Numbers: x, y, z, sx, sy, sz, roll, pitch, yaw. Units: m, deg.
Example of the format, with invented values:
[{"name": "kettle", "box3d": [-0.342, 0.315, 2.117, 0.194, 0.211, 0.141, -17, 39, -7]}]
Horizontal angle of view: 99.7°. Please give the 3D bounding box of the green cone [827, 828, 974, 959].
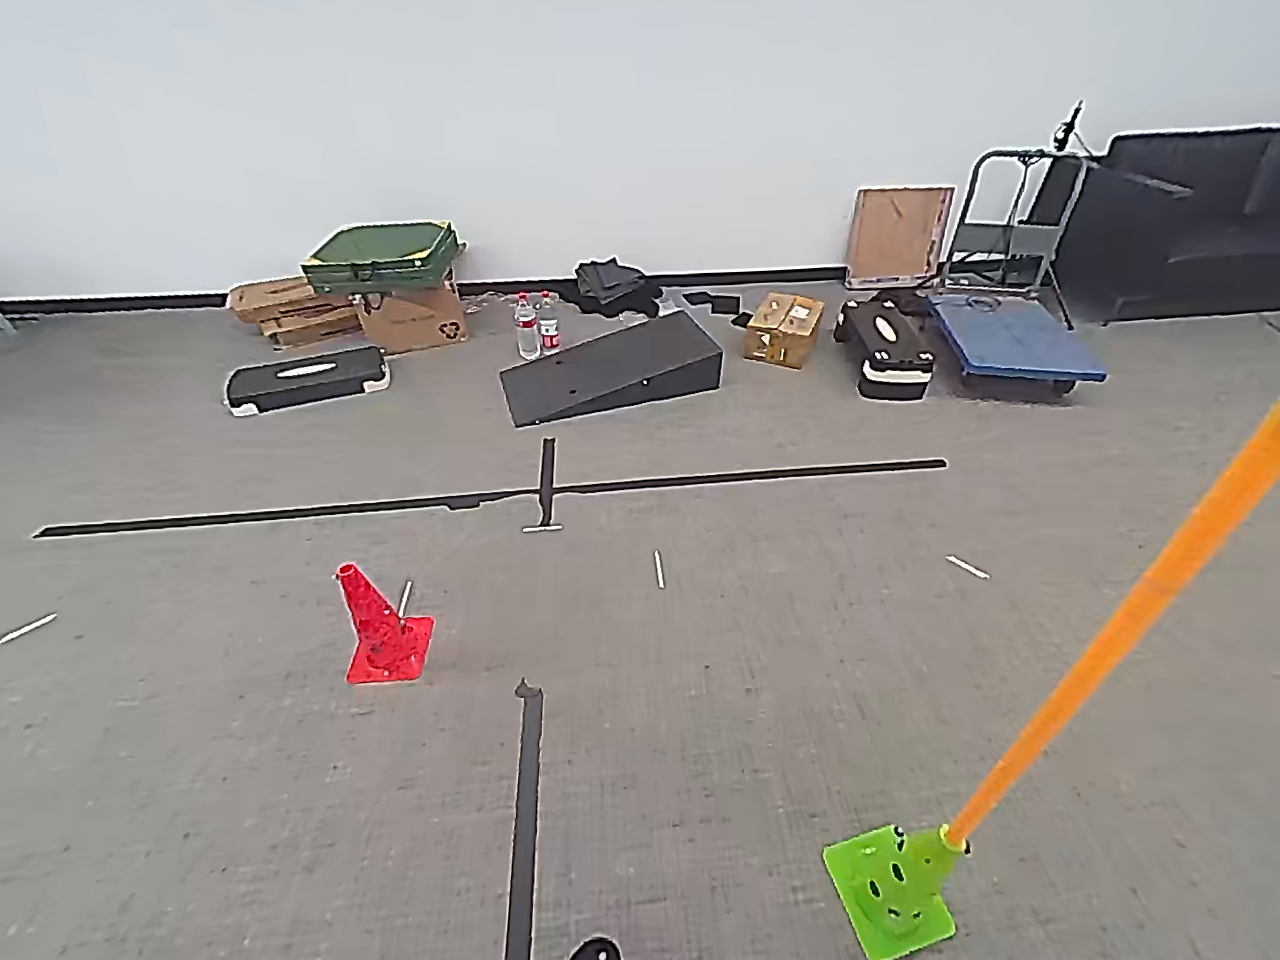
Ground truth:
[{"name": "green cone", "box3d": [0.511, 0.721, 0.992, 0.200, 0.368, 0.202, -11, 44, -12]}]
